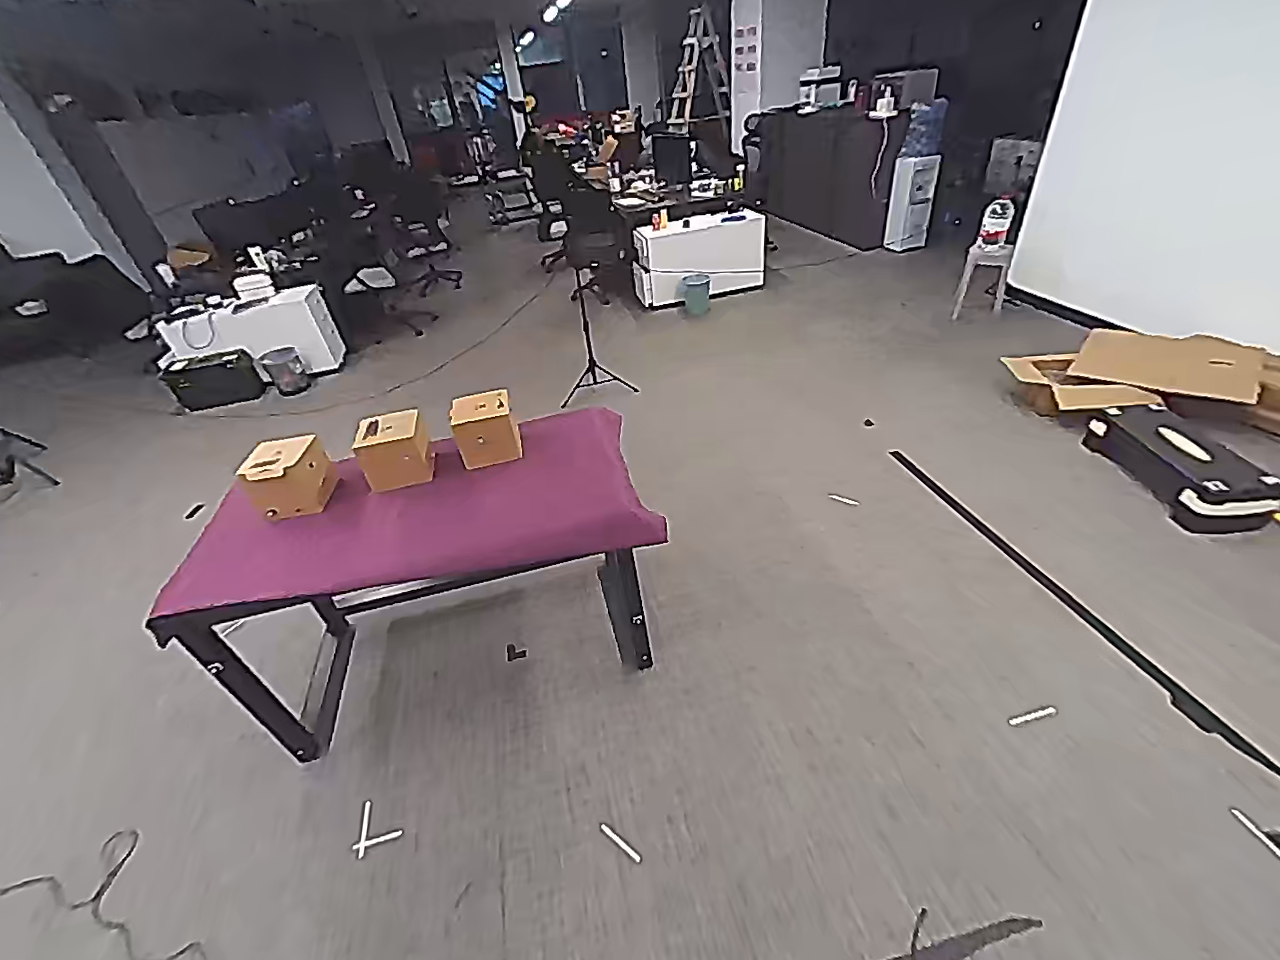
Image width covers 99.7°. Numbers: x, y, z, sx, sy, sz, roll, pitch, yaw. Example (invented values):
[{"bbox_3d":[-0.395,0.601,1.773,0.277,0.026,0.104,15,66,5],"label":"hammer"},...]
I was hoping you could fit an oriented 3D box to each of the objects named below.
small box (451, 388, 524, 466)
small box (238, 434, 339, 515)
[{"bbox_3d":[-0.476,-0.164,1.697,0.179,0.176,0.168,-13,40,-6],"label":"small box"},{"bbox_3d":[-1.026,-0.010,1.598,0.168,0.176,0.179,-9,37,-2],"label":"small box"}]
